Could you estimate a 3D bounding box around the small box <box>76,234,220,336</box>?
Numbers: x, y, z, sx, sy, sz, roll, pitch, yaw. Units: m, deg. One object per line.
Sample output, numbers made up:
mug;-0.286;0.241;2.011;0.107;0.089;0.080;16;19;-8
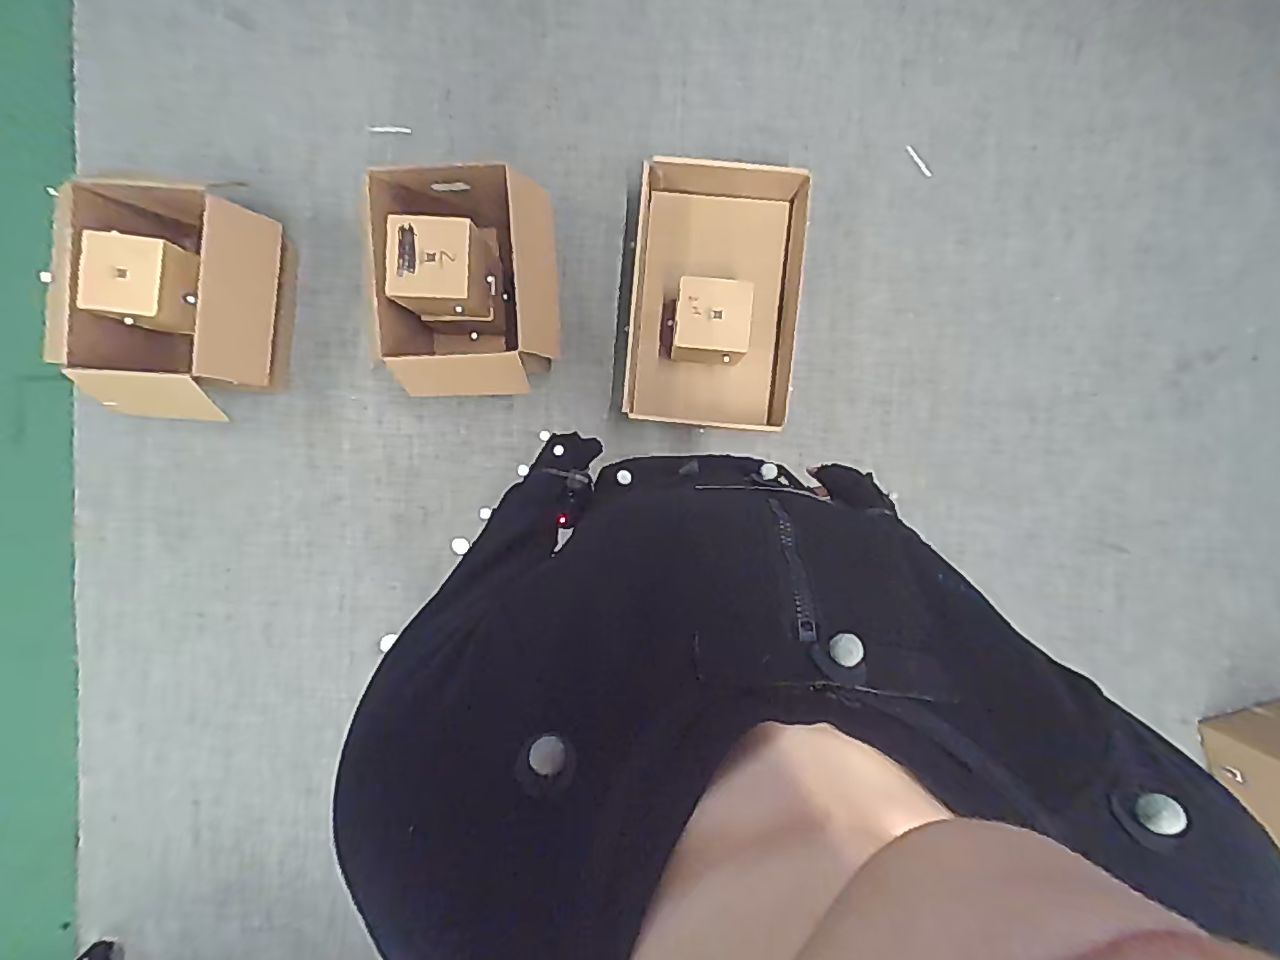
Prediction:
small box;-1.098;-0.431;1.221;0.179;0.176;0.168;6;91;0
